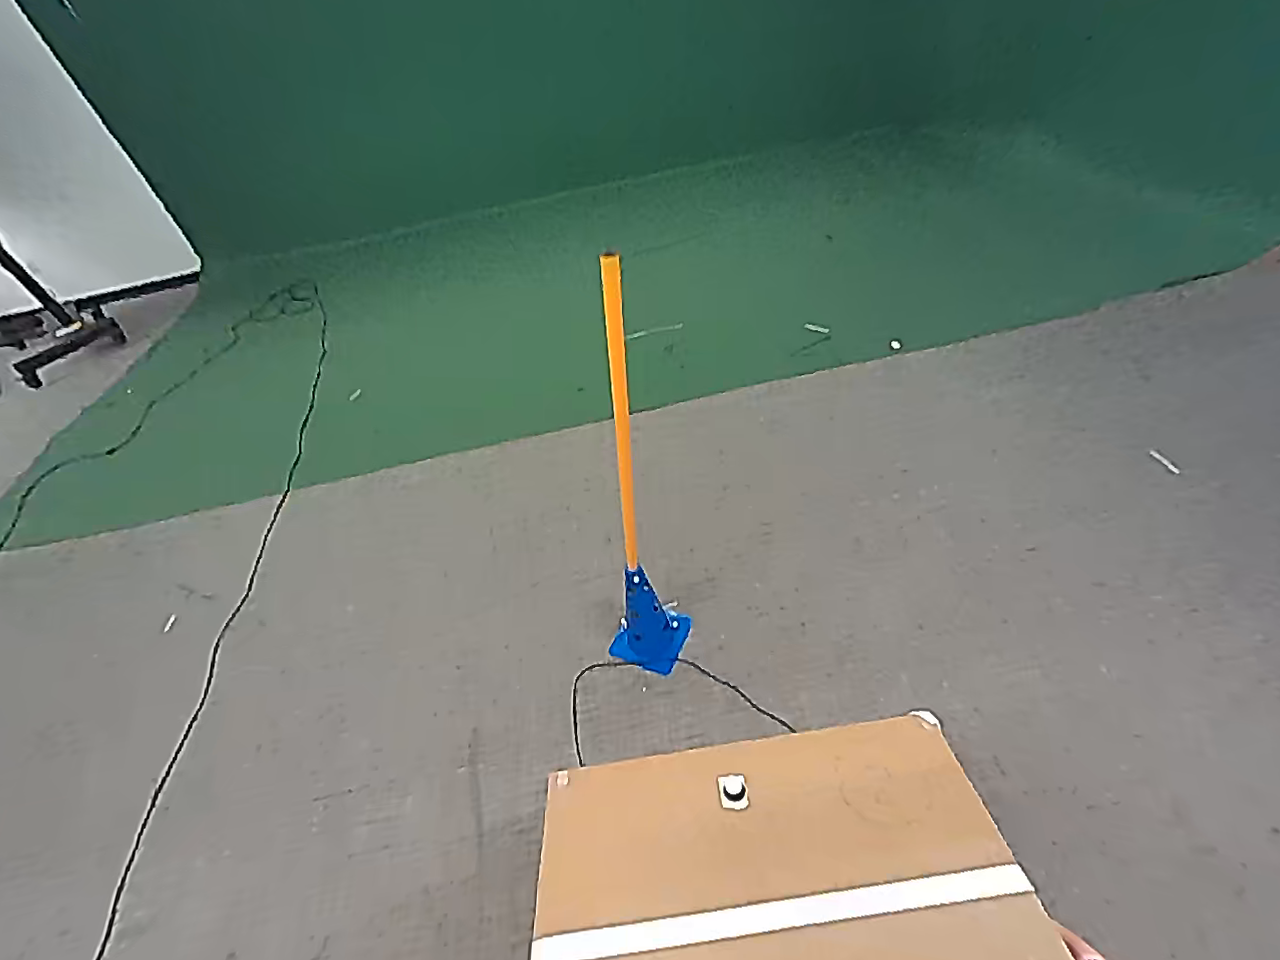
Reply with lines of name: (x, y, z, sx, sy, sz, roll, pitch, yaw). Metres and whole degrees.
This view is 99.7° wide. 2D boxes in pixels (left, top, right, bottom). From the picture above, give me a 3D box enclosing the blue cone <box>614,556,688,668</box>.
blue cone: (0.010, 0.334, 1.480, 0.192, 0.380, 0.193, 12, 48, 22)
